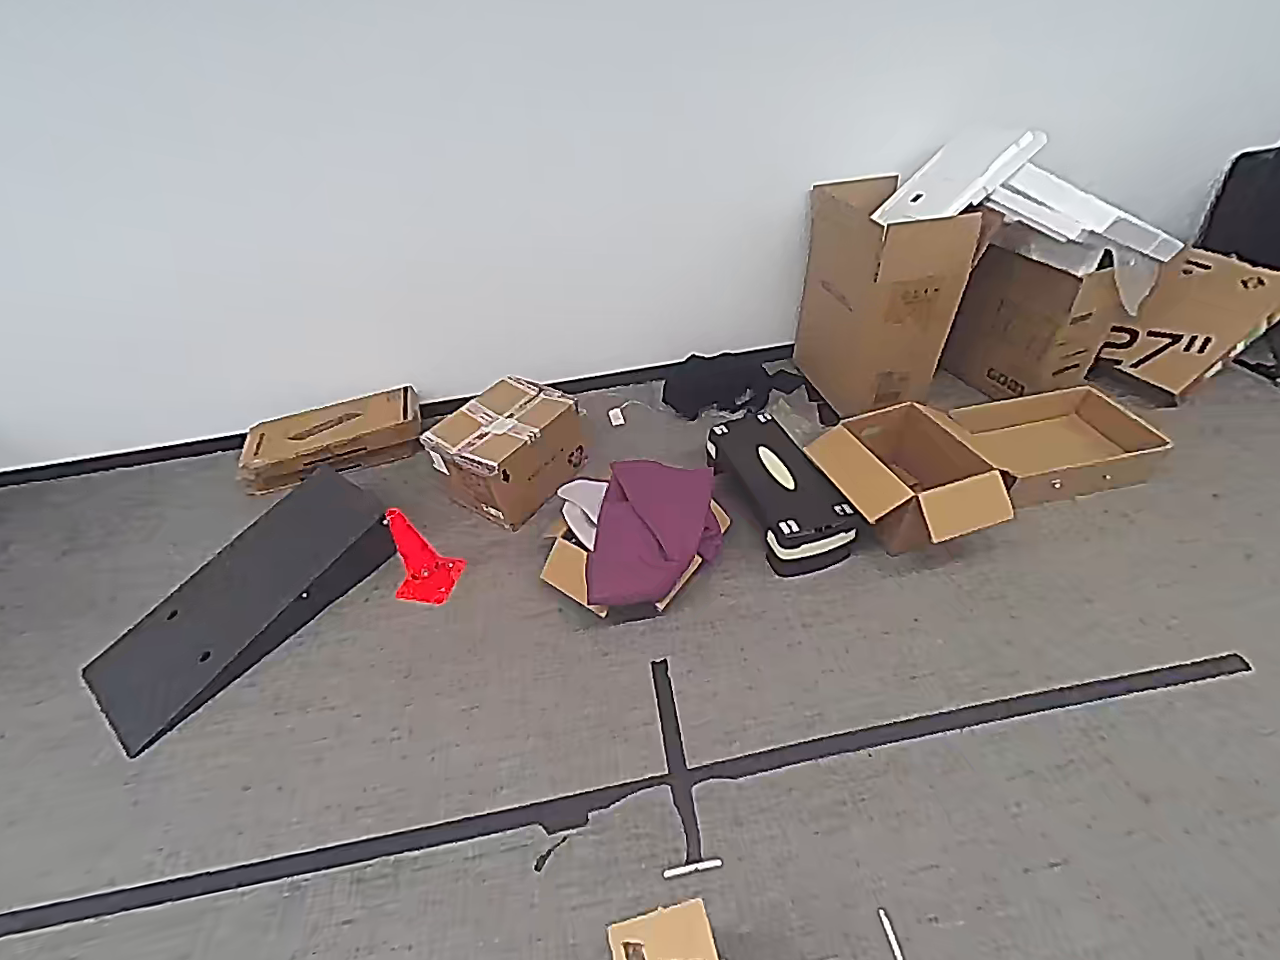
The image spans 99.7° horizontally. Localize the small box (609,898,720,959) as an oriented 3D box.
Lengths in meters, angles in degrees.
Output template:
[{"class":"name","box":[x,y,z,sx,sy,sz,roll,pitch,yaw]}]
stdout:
[{"class":"small box","box":[0.056,0.866,0.938,0.179,0.176,0.168,-13,43,-6]}]
